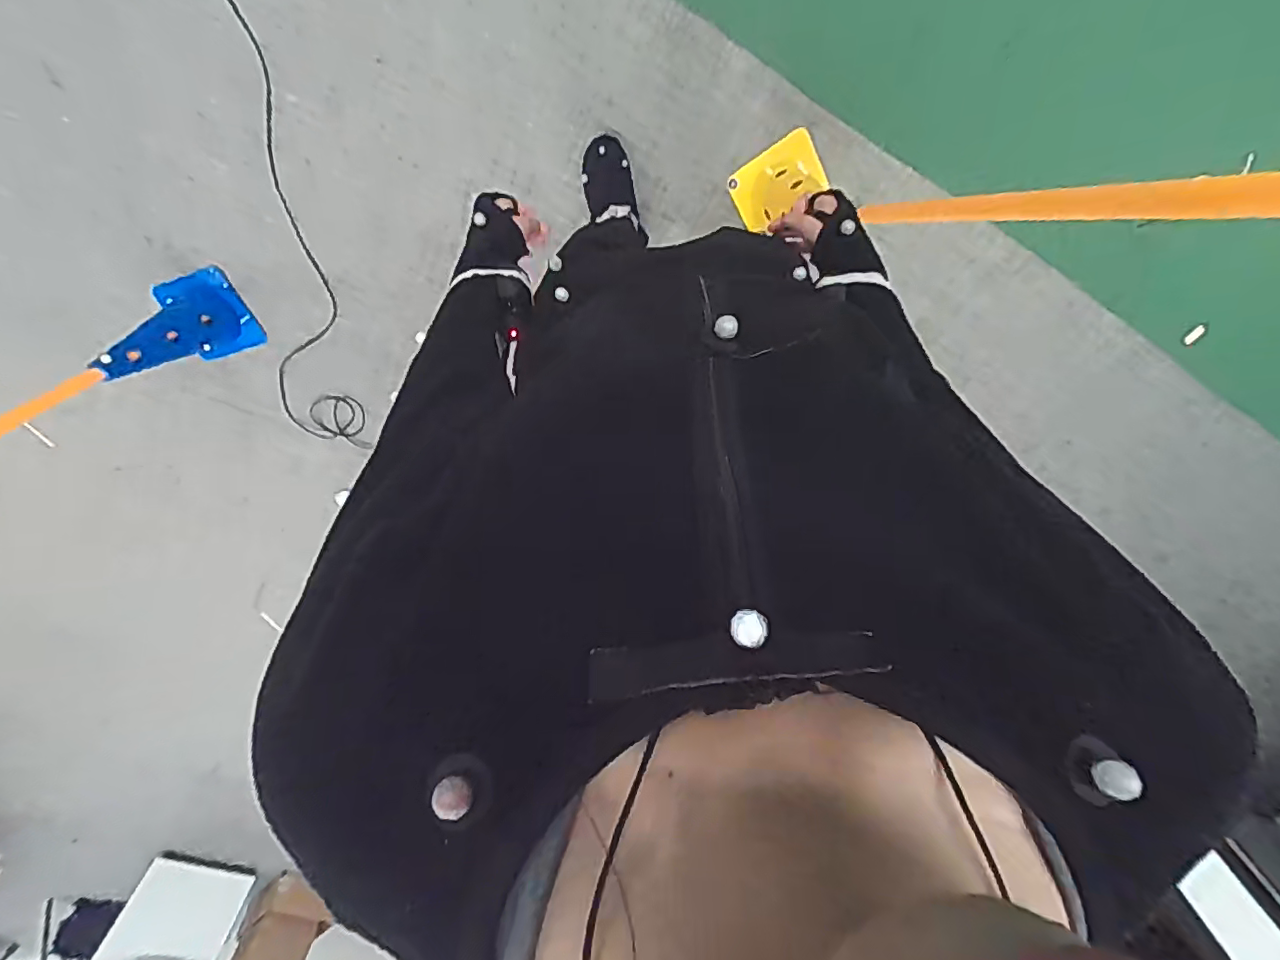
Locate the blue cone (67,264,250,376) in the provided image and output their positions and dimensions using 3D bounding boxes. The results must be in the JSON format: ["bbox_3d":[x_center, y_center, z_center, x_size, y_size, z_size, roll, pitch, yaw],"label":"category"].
[{"bbox_3d":[-1.087,-0.318,1.201,0.193,0.380,0.192,-14,124,10],"label":"blue cone"}]
